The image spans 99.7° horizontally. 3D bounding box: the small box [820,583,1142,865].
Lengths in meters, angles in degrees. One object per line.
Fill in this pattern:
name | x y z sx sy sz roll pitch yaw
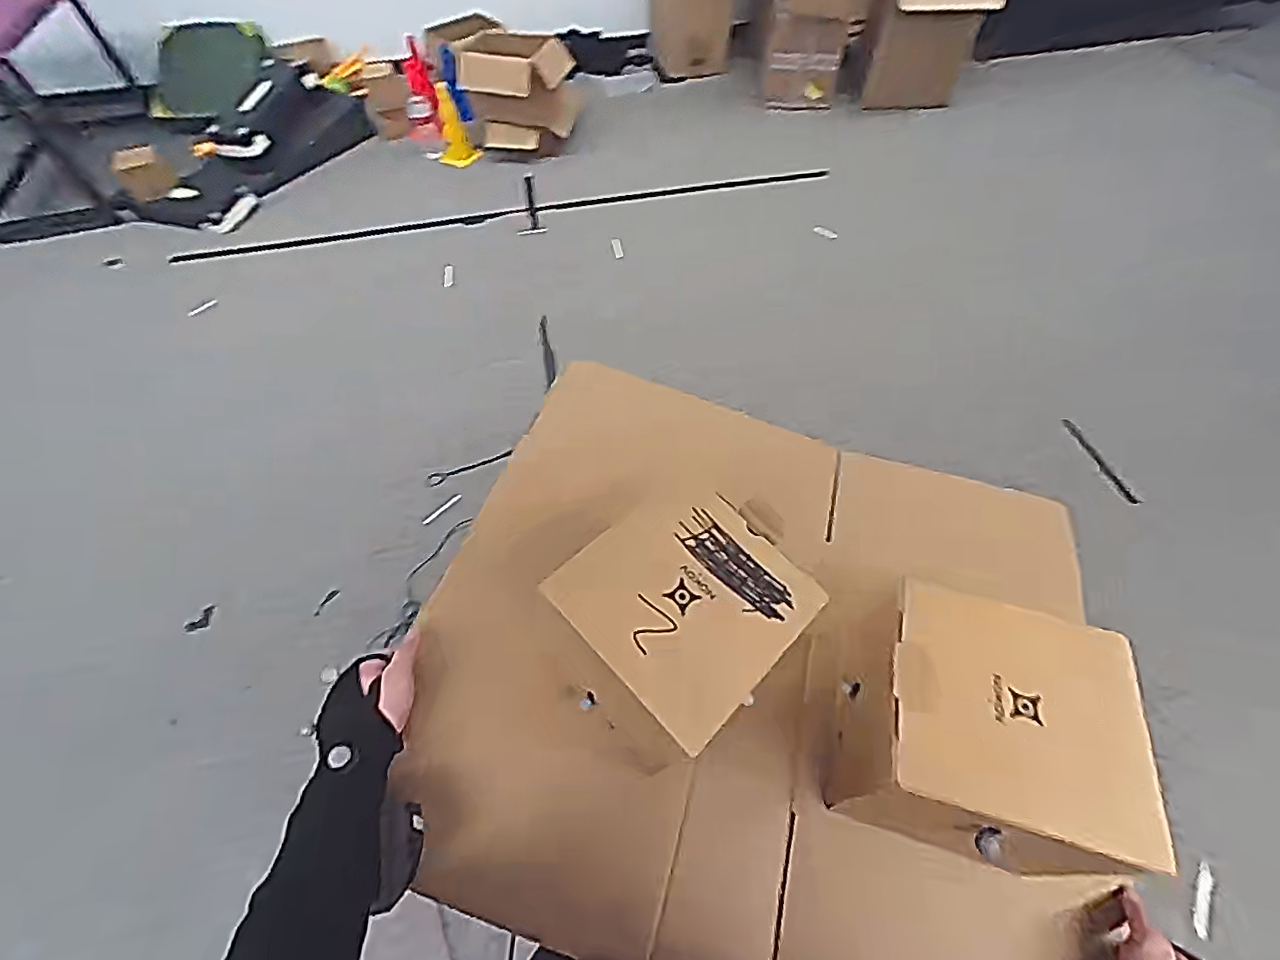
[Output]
small box | 0.279 0.220 0.486 0.179 0.176 0.168 13 55 10
